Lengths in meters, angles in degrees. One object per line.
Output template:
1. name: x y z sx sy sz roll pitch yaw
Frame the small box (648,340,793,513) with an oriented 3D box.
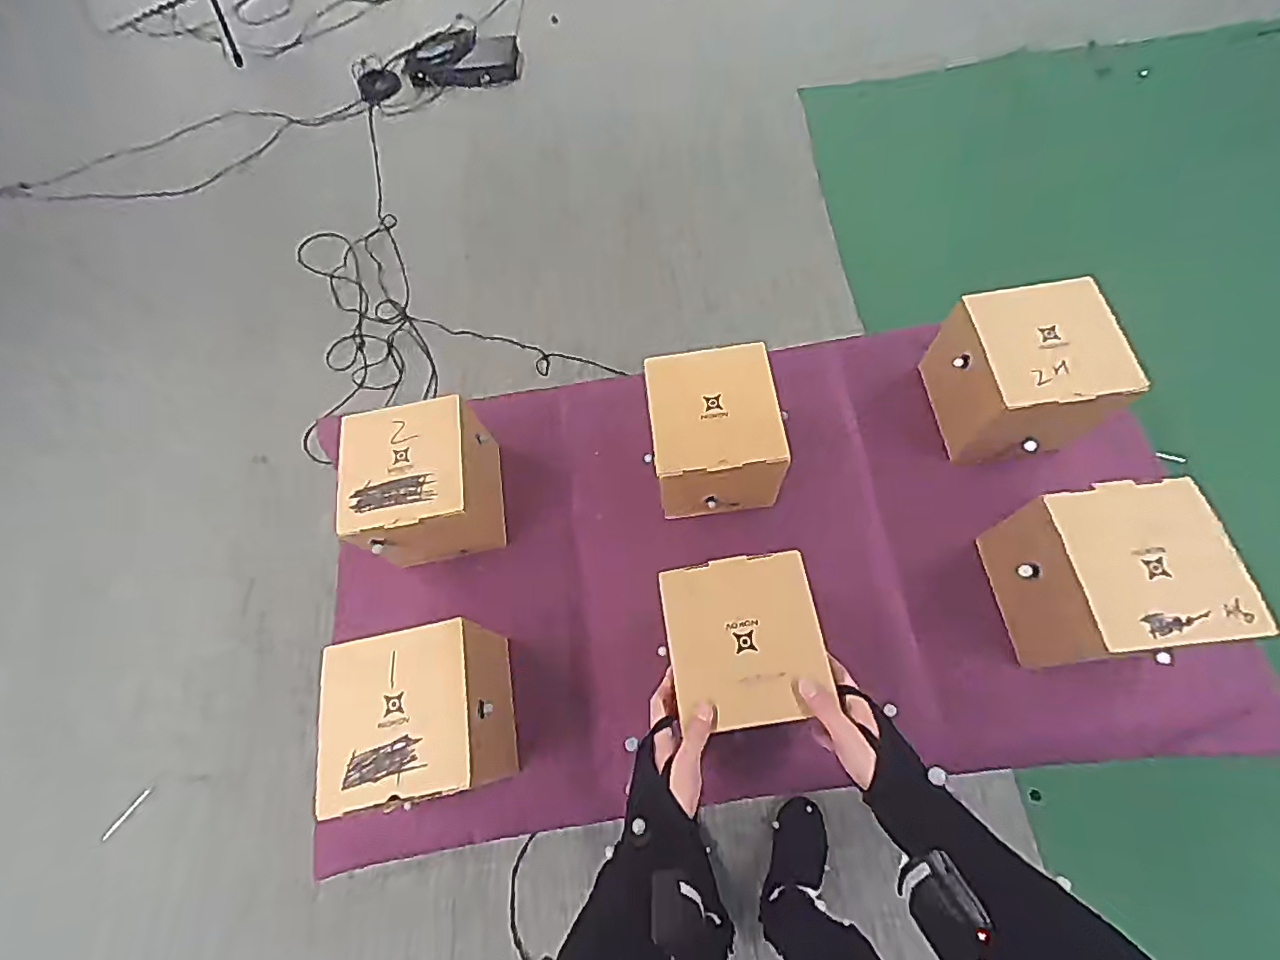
1. small box: 0.103 -0.068 0.762 0.168 0.176 0.179 -7 69 2

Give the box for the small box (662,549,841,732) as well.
1. small box: 0.120 0.198 0.652 0.168 0.176 0.179 -9 67 3

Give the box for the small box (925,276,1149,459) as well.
1. small box: 0.524 -0.147 0.749 0.168 0.176 0.179 -7 69 5

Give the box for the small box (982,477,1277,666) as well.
1. small box: 0.548 0.116 0.643 0.168 0.176 0.179 -7 66 4

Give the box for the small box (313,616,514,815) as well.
1. small box: -0.258 0.276 0.652 0.168 0.176 0.179 -12 66 0
